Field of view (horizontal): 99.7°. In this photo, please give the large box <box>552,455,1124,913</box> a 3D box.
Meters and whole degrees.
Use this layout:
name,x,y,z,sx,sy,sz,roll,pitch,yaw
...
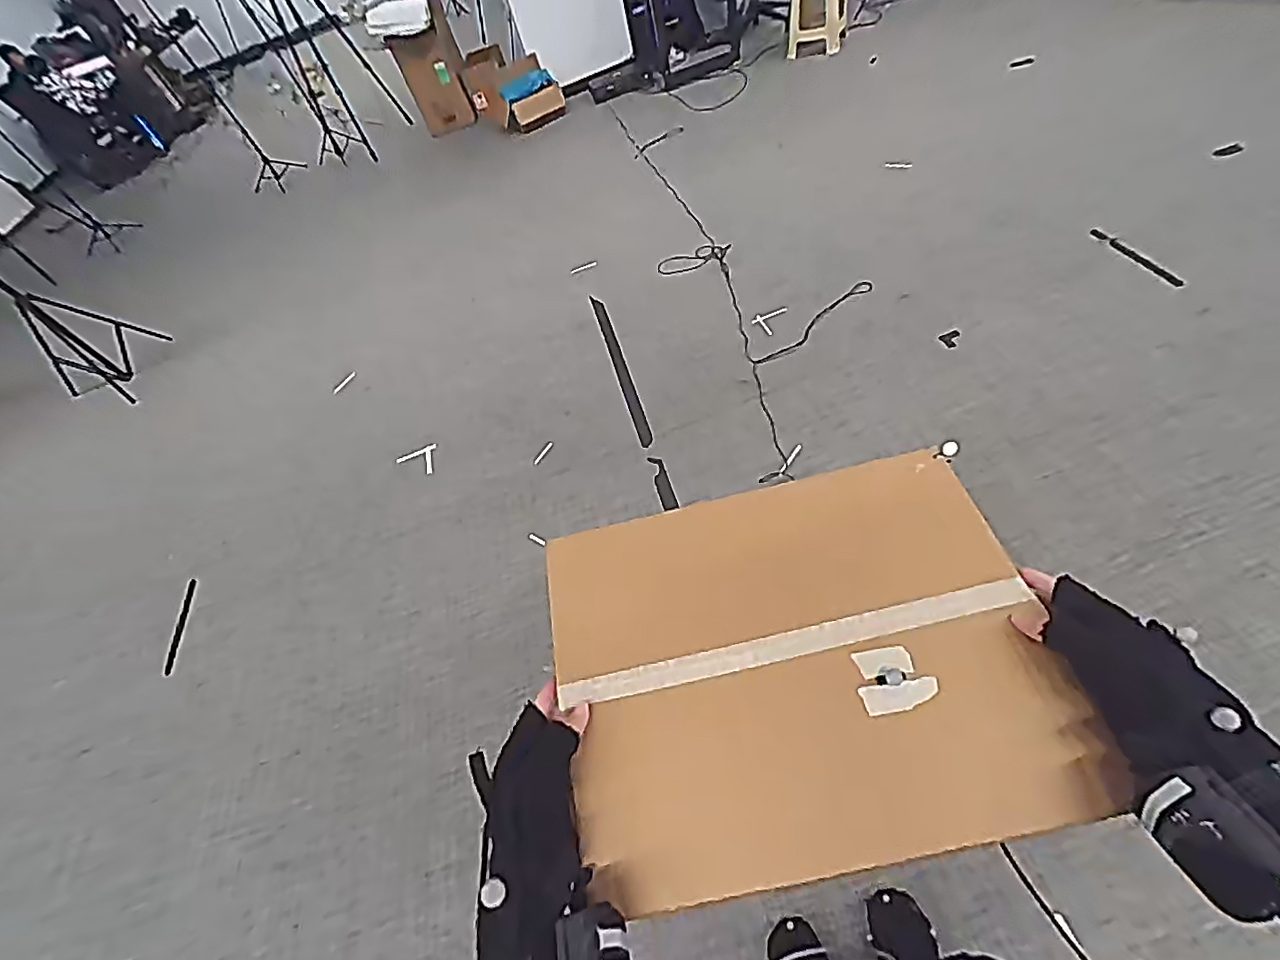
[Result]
name,x,y,z,sx,sy,sz,roll,pitch,yaw
large box,0.150,0.226,0.594,0.408,0.320,0.320,-14,56,1
